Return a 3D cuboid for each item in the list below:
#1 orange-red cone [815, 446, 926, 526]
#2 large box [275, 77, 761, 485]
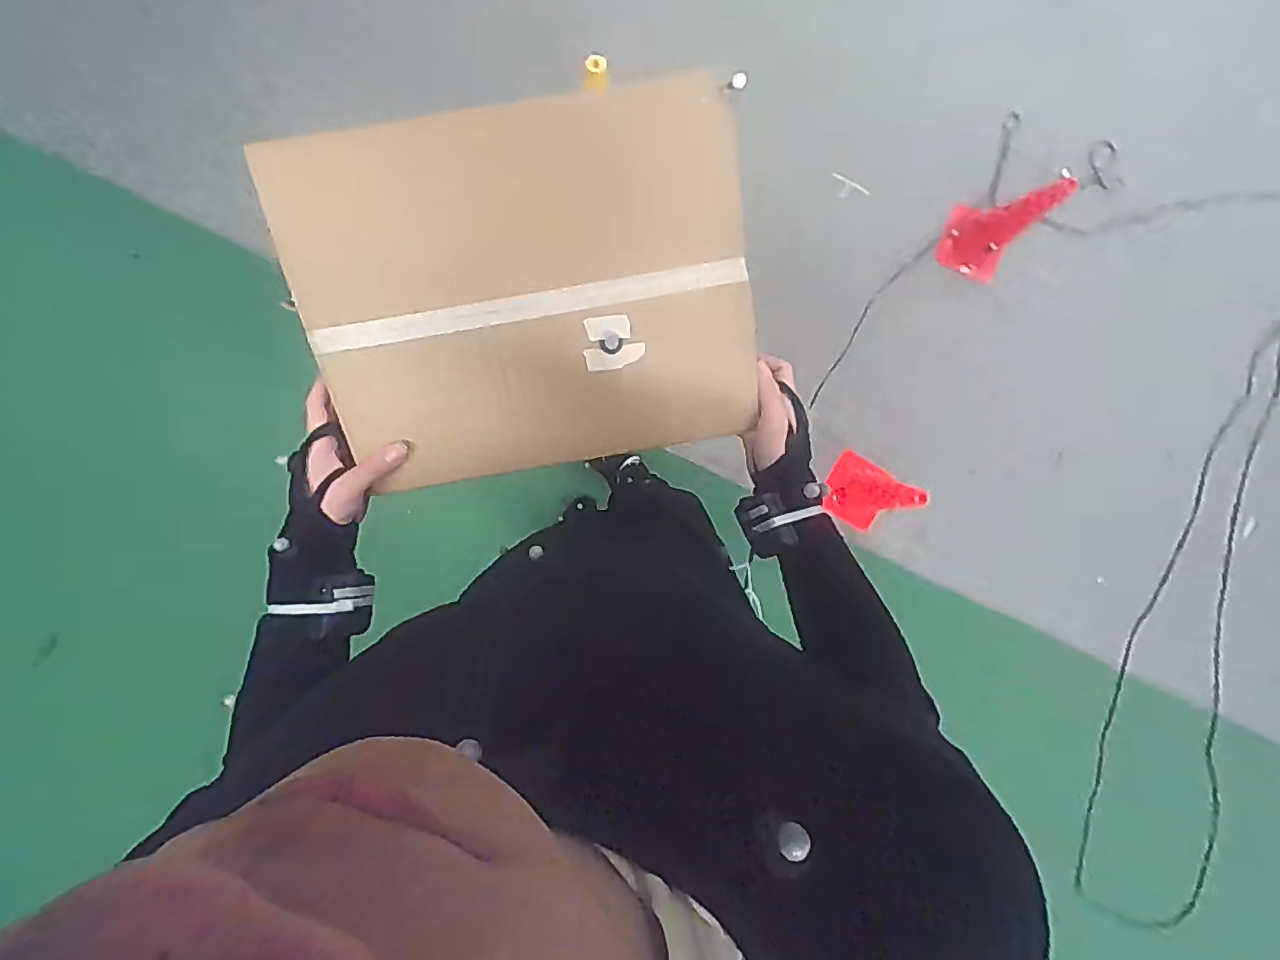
[{"bbox_3d":[0.685,0.028,1.523,0.199,0.360,0.198,33,90,-6],"label":"orange-red cone"},{"bbox_3d":[-0.105,-0.217,0.646,0.408,0.320,0.320,-9,110,-2],"label":"large box"}]
